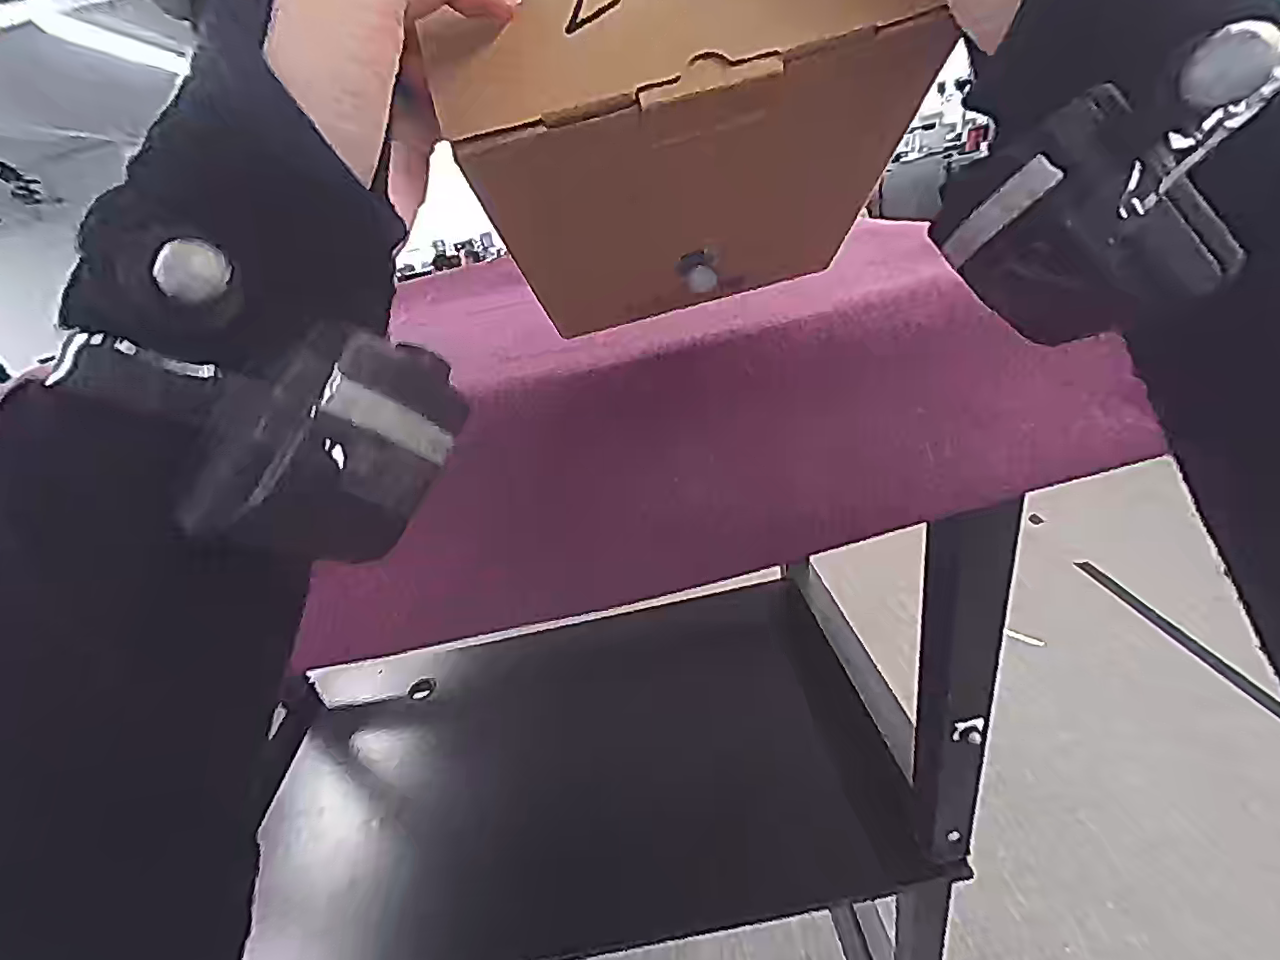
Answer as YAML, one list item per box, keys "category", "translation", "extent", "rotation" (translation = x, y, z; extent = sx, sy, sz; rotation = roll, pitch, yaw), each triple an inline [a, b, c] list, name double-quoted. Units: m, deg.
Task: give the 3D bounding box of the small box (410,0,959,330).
- category: "small box"
  translation: [0.004, -0.197, 0.251]
  extent: [0.168, 0.179, 0.176]
  rotation: [-14, -7, 3]
